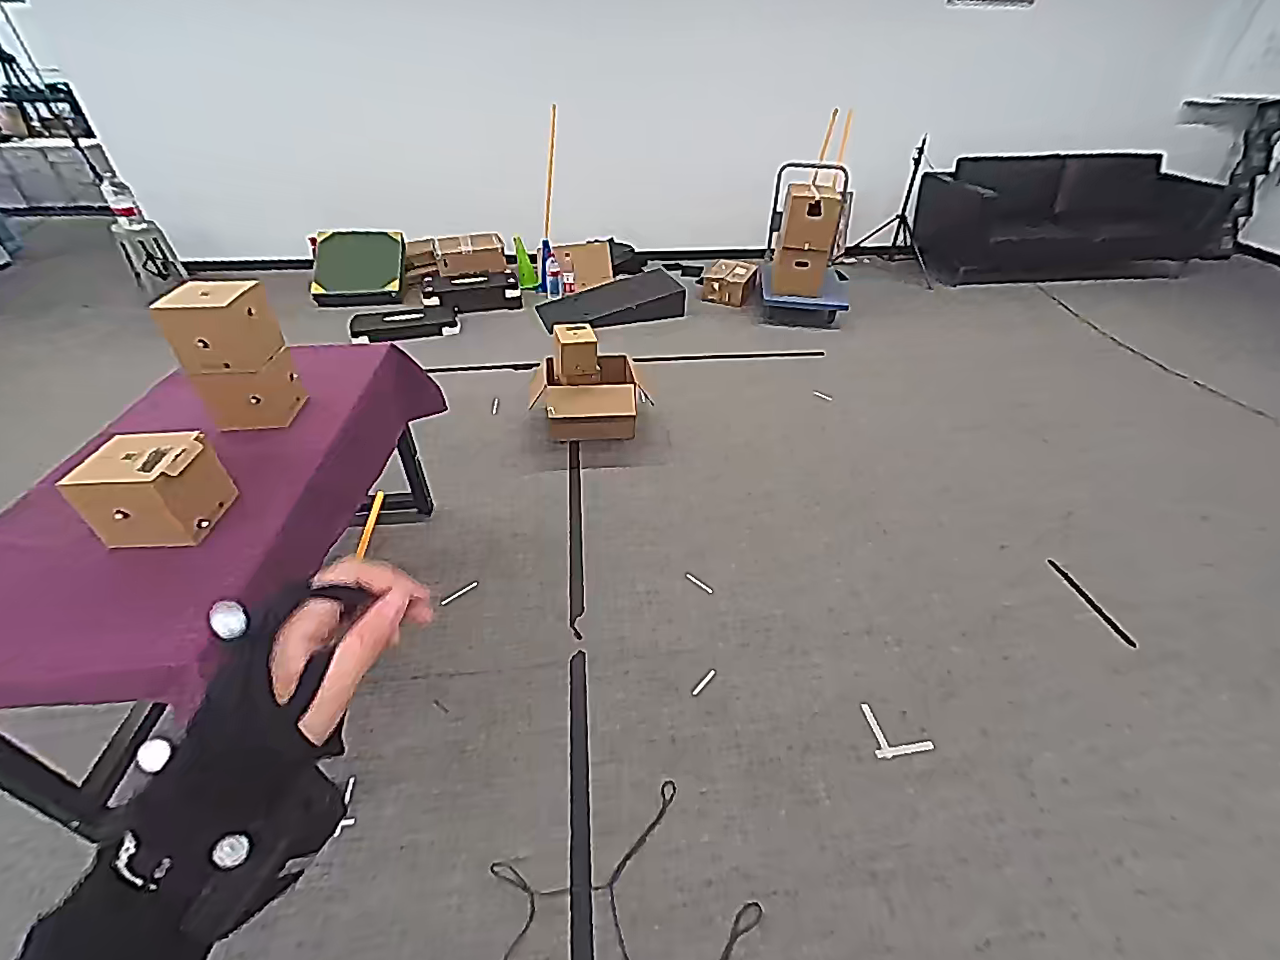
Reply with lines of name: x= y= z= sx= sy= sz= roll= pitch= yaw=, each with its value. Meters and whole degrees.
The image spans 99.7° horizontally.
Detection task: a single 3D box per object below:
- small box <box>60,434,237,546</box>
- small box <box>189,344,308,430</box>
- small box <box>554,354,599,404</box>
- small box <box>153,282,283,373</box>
small box: x=-0.979 y=0.021 z=1.102 sx=0.179 sy=0.176 sz=0.168 roll=-2 pitch=39 yaw=-2
small box: x=-1.018 y=-0.245 z=1.429 sx=0.179 sy=0.176 sz=0.168 roll=-4 pitch=39 yaw=-5
small box: x=-0.305 y=-0.484 z=2.605 sx=0.179 sy=0.176 sz=0.168 roll=-15 pitch=46 yaw=-24
small box: x=-1.017 y=-0.373 z=1.327 sx=0.168 sy=0.176 sz=0.179 roll=-2 pitch=38 yaw=-5
